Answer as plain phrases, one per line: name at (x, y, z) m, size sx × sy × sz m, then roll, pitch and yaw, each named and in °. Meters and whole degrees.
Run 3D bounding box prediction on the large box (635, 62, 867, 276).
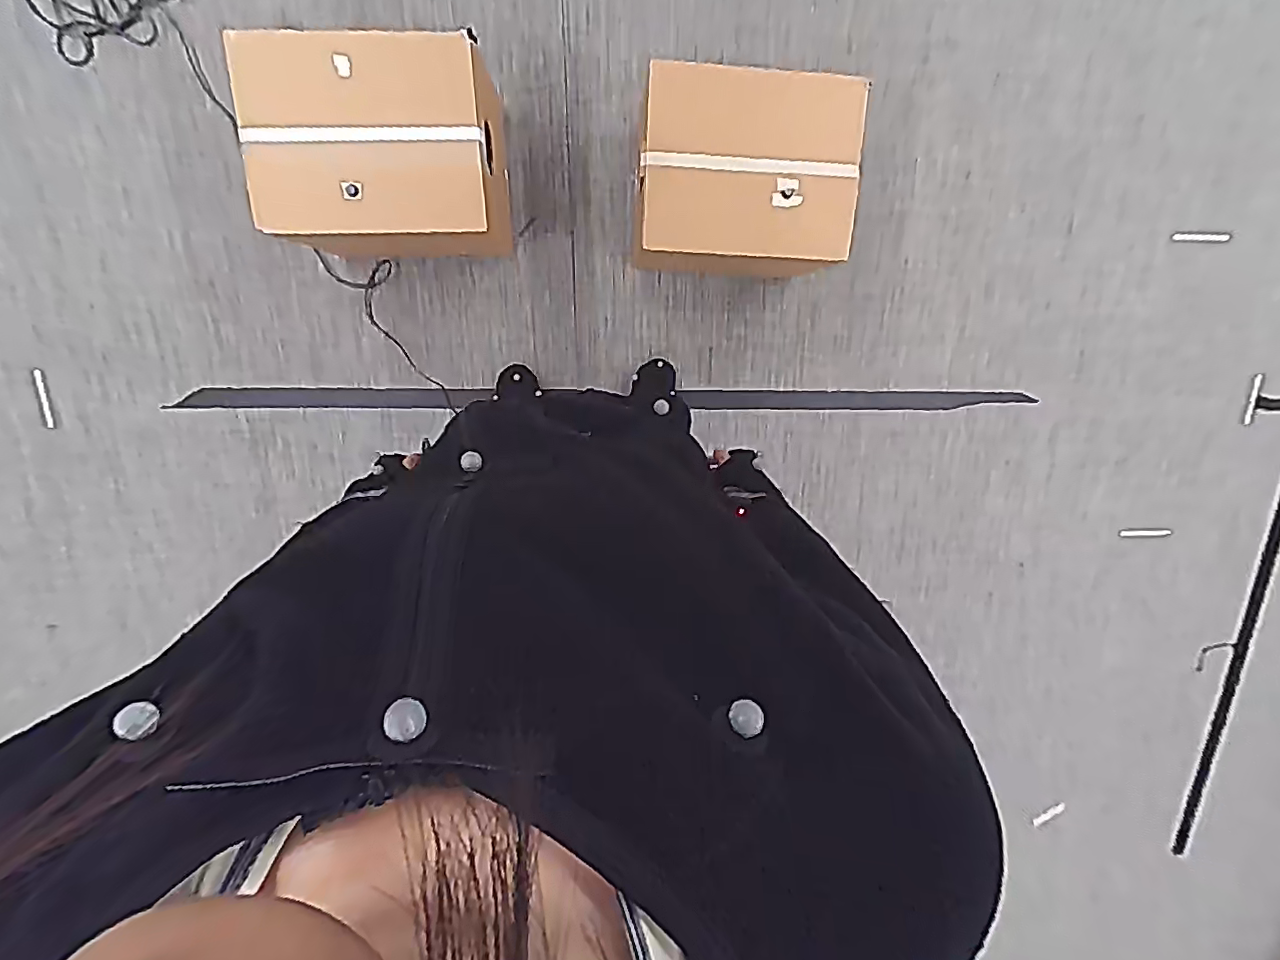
large box at (0.199, -0.622, 1.149) m, size 0.408 × 0.320 × 0.320 m, roll 1°, pitch 105°, yaw -5°
